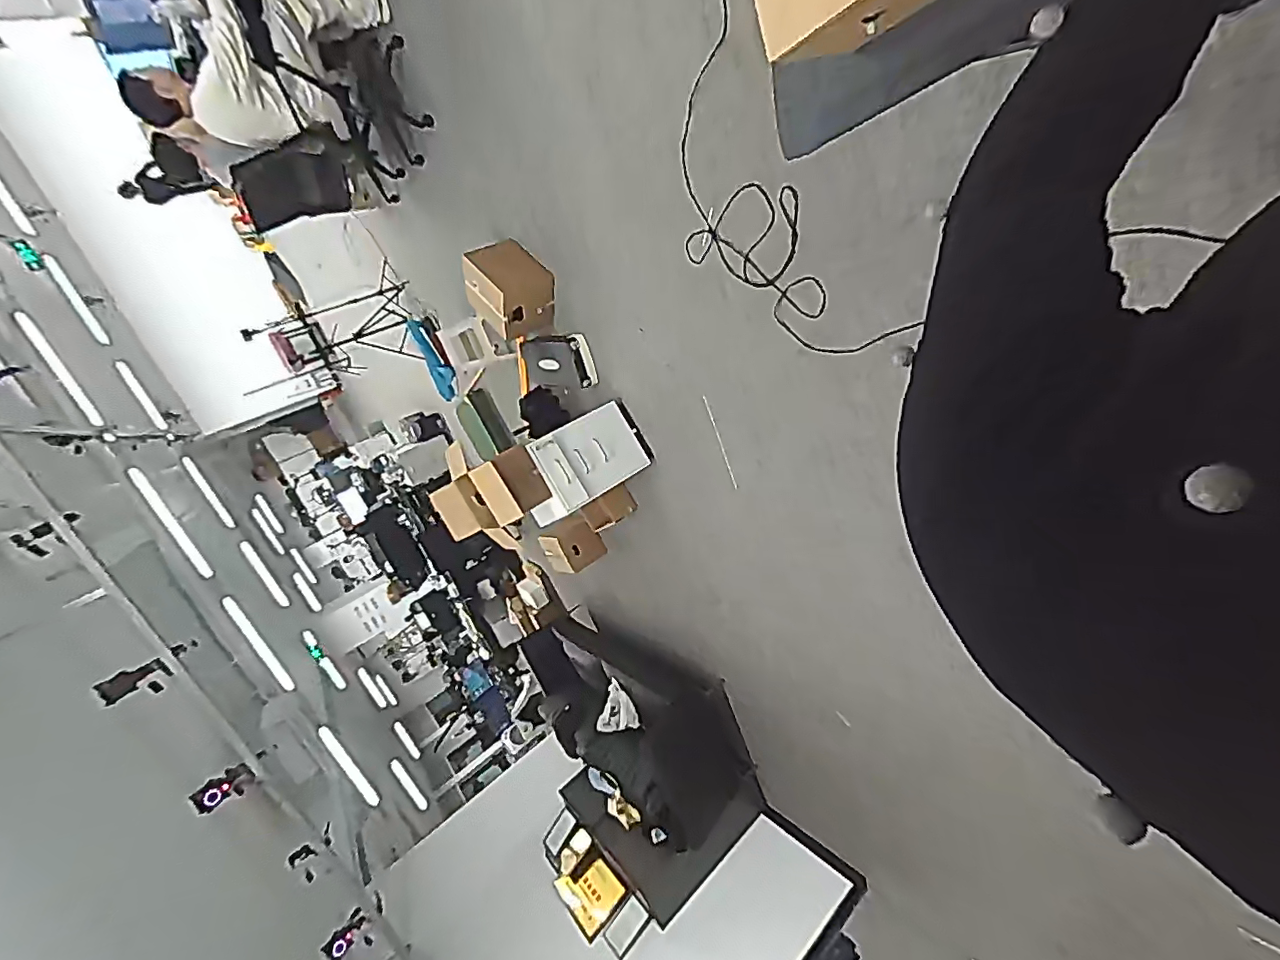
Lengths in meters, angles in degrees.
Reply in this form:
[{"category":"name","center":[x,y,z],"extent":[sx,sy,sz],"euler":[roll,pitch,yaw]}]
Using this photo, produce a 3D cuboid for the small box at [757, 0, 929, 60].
[{"category":"small box","center":[0.225,-0.563,0.535],"extent":[0.179,0.176,0.168],"euler":[10,126,55]}]
